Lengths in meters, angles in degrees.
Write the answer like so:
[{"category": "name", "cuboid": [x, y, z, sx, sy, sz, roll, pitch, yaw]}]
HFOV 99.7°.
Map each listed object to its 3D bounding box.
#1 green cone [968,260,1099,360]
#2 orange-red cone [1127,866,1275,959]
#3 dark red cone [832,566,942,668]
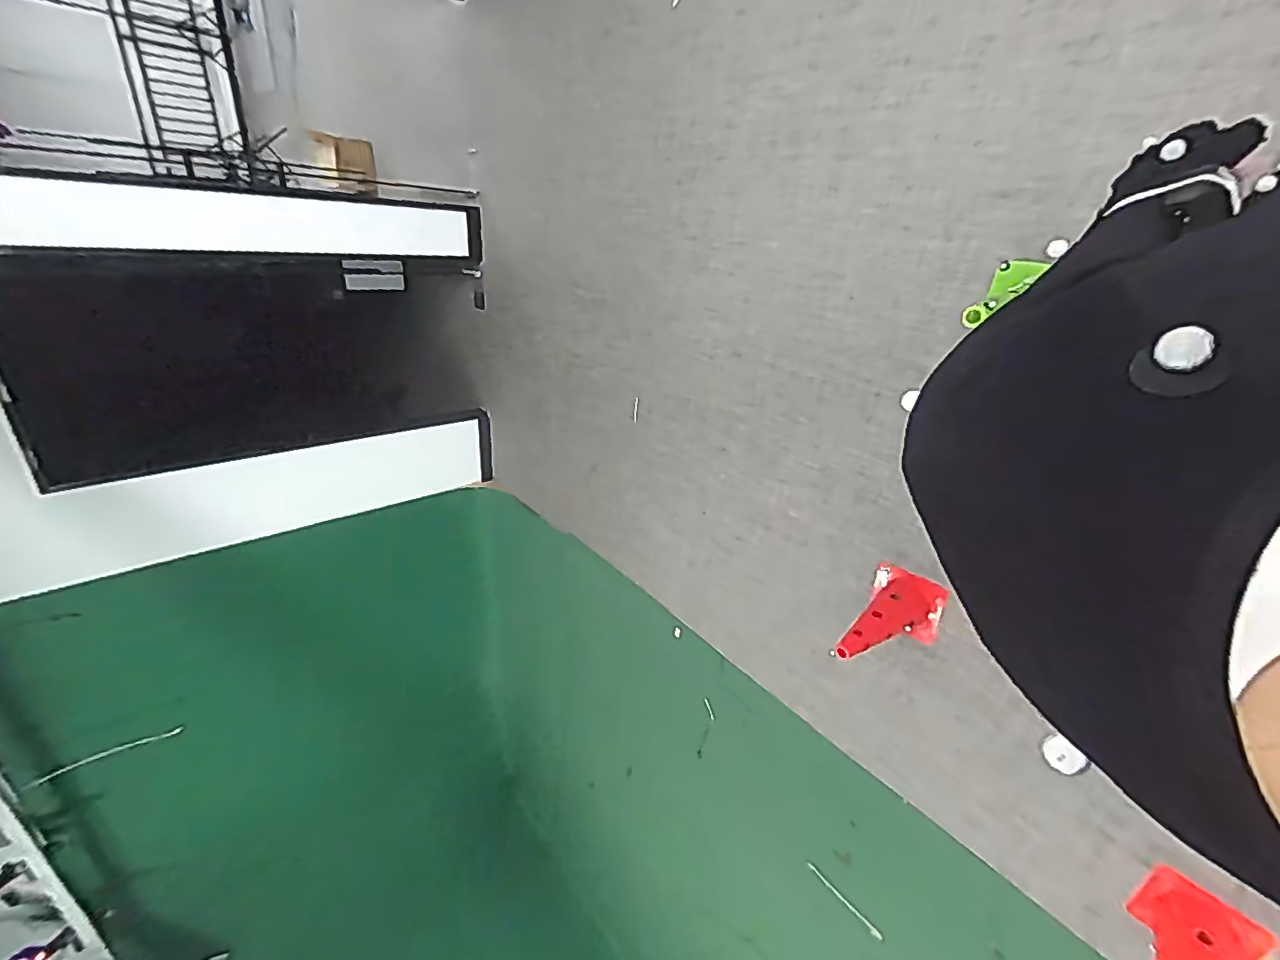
[{"category": "green cone", "cuboid": [0.755, -0.343, 1.113, 0.202, 0.368, 0.200, 28, 124, 41]}, {"category": "orange-red cone", "cuboid": [1.157, 1.054, 1.142, 0.198, 0.360, 0.199, 30, 125, 40]}, {"category": "dark red cone", "cuboid": [0.648, 0.408, 1.490, 0.202, 0.394, 0.201, 24, 123, 44]}]
